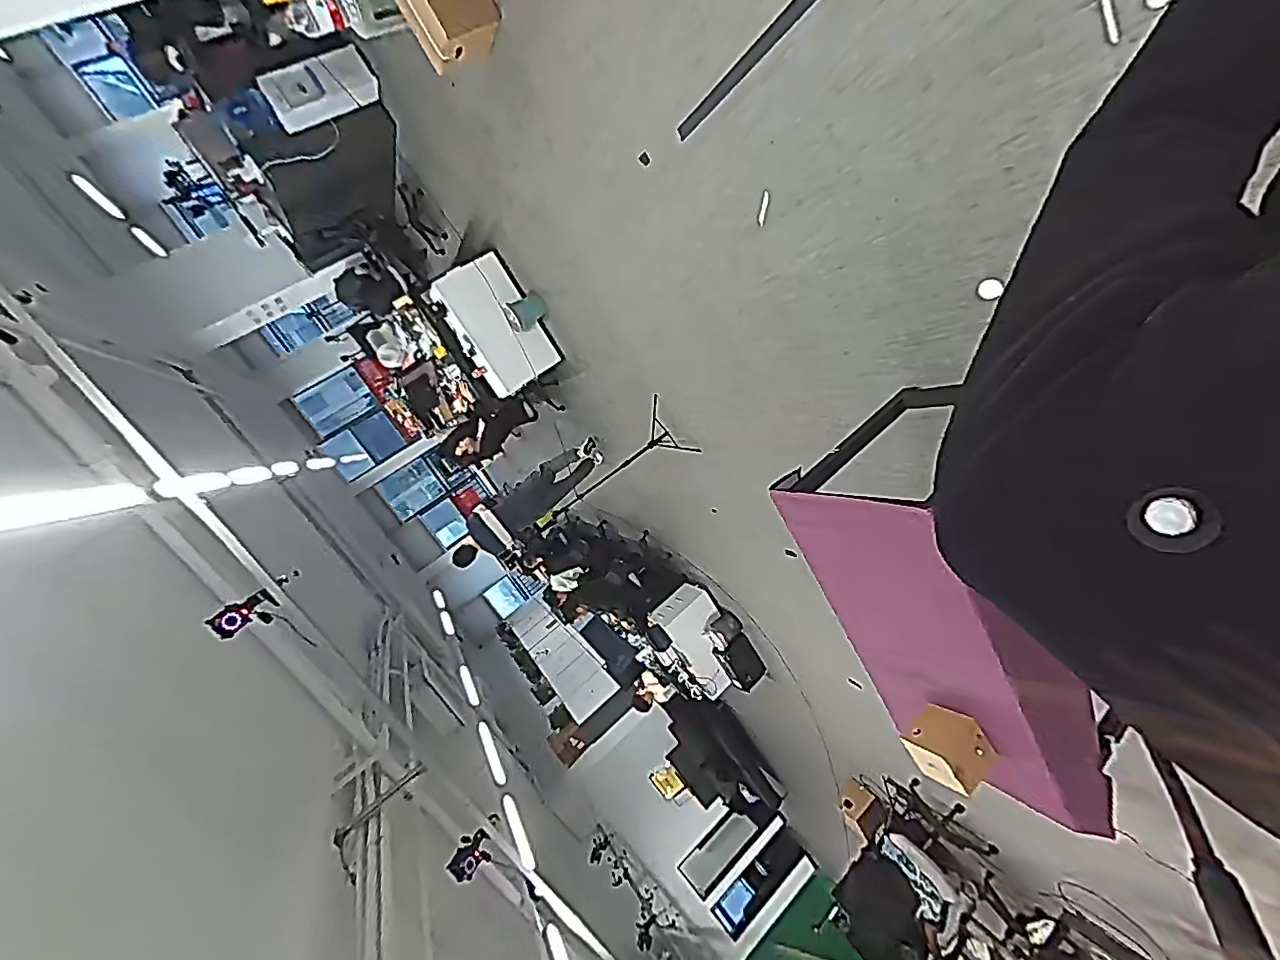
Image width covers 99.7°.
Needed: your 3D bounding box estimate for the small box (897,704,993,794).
[{"bbox_3d":[0.983,0.855,1.744,0.168,0.176,0.179,55,161,-8],"label":"small box"}]
